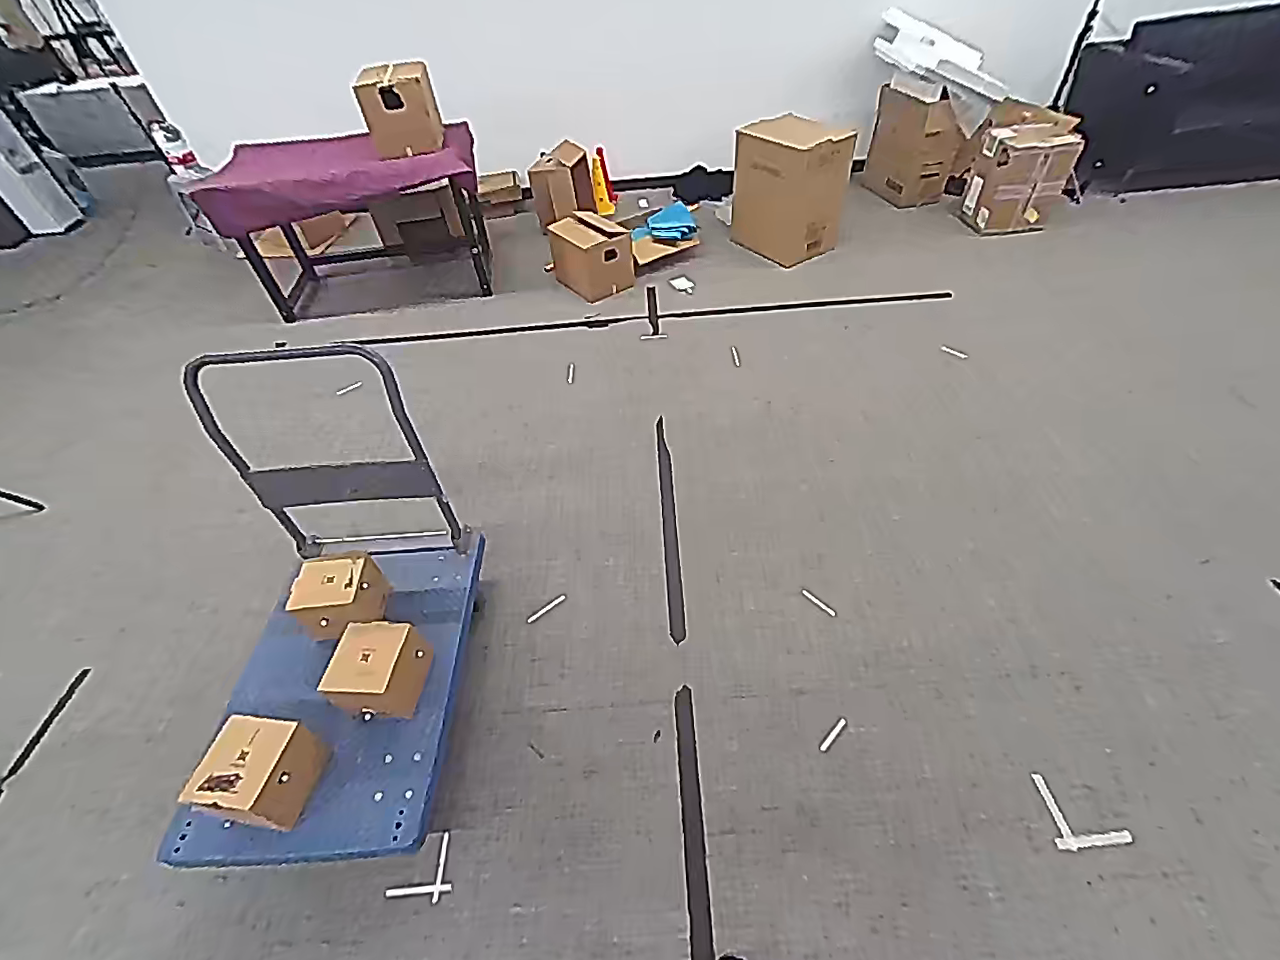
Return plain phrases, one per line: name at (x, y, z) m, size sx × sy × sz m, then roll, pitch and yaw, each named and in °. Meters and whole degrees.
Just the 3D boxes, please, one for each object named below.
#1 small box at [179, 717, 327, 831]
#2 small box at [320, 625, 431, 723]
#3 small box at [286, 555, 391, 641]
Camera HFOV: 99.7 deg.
small box at (-0.837, 0.651, 1.194) m, size 0.168 × 0.176 × 0.179 m, roll 3°, pitch 45°, yaw 8°
small box at (-0.645, 0.482, 1.346) m, size 0.168 × 0.176 × 0.179 m, roll -1°, pitch 47°, yaw 6°
small box at (-0.828, 0.333, 1.505) m, size 0.179 × 0.176 × 0.168 m, roll -7°, pitch 46°, yaw -1°
